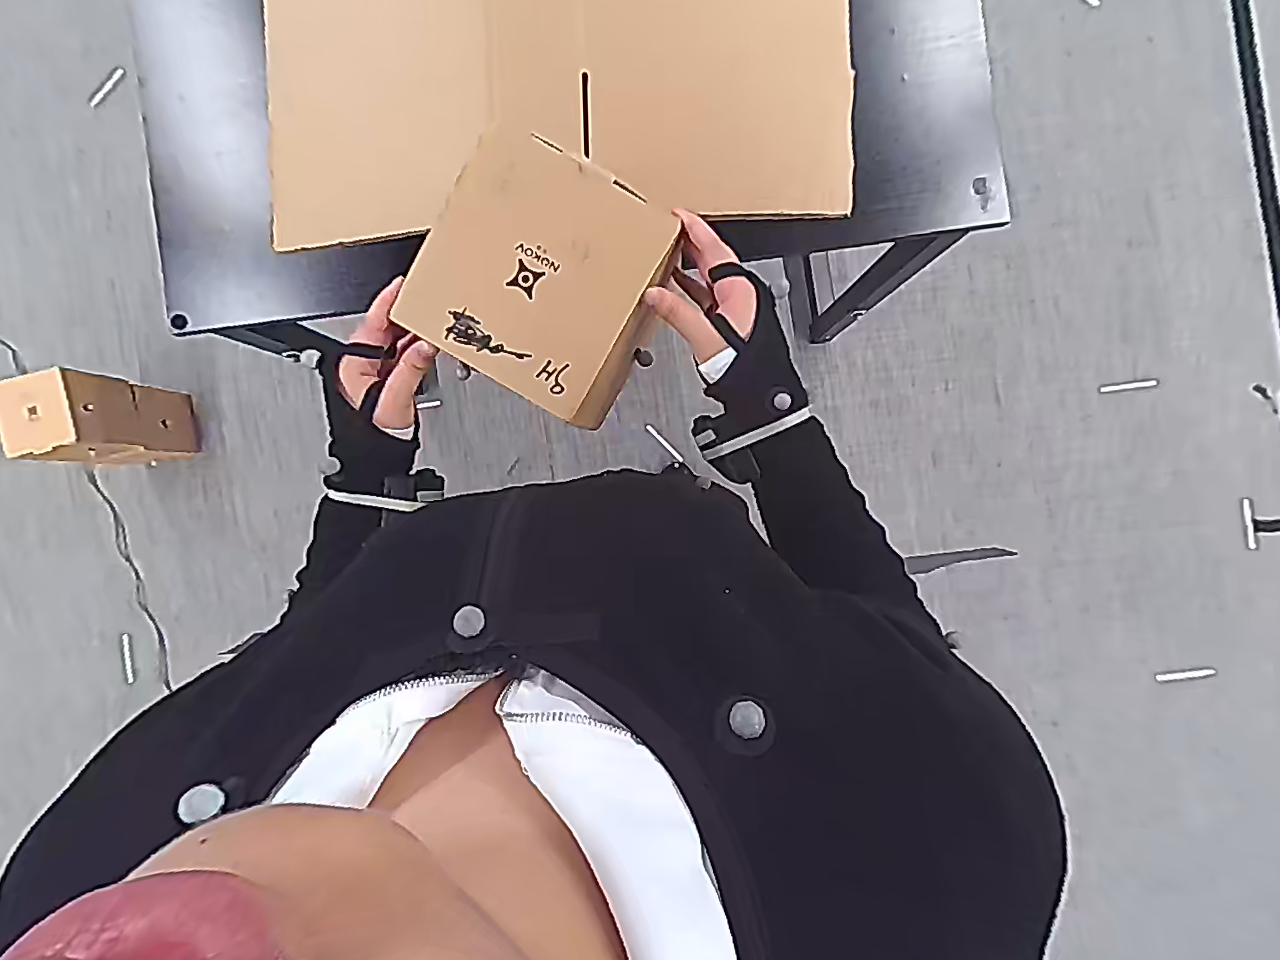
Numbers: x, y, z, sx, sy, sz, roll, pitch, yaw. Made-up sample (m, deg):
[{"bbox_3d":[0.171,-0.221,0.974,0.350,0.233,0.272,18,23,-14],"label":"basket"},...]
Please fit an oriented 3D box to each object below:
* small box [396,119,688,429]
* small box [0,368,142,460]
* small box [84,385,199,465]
[{"bbox_3d":[-0.074,-0.162,0.490,0.168,0.176,0.179,31,93,1],"label":"small box"},{"bbox_3d":[-1.337,-0.147,1.277,0.168,0.176,0.179,-14,88,0],"label":"small box"},{"bbox_3d":[-1.331,-0.140,1.439,0.168,0.176,0.179,-11,90,1],"label":"small box"}]
